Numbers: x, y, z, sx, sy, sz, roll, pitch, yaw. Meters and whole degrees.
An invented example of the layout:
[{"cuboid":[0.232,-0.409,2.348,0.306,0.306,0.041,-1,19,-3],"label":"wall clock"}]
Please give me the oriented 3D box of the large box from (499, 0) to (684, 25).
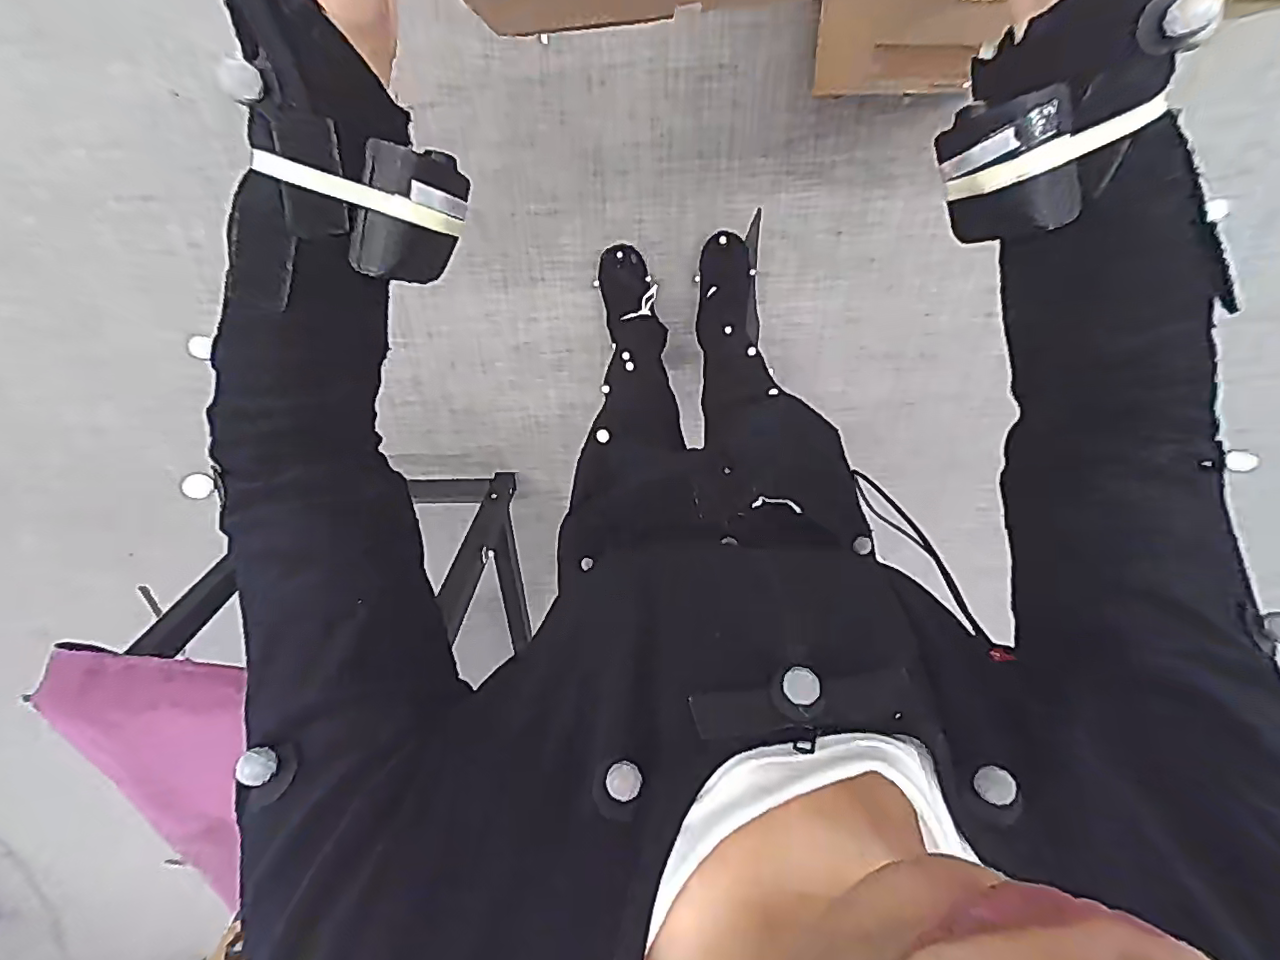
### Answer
[{"cuboid":[0.024,-0.481,0.202,0.320,0.320,0.408,-5,118,4],"label":"large box"}]
